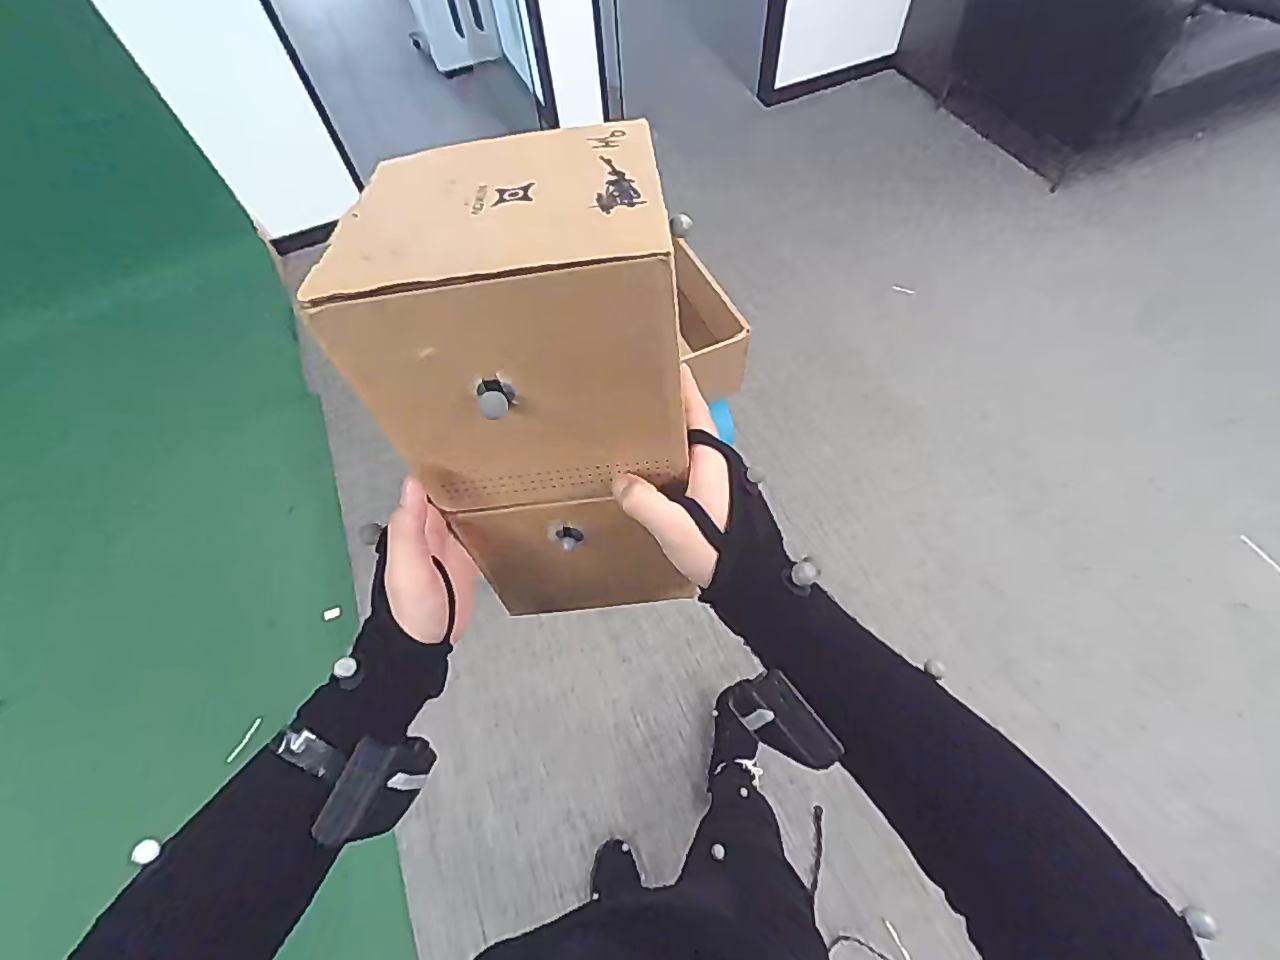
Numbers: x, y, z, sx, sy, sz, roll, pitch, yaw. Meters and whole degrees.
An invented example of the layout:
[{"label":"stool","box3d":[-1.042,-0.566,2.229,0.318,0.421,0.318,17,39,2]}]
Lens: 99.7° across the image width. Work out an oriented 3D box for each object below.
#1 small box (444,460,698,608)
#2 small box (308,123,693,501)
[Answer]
[{"label":"small box","box3d":[-0.045,0.003,0.484,0.179,0.176,0.168,-6,50,4]},{"label":"small box","box3d":[-0.065,-0.101,0.359,0.179,0.176,0.168,-8,51,3]}]
